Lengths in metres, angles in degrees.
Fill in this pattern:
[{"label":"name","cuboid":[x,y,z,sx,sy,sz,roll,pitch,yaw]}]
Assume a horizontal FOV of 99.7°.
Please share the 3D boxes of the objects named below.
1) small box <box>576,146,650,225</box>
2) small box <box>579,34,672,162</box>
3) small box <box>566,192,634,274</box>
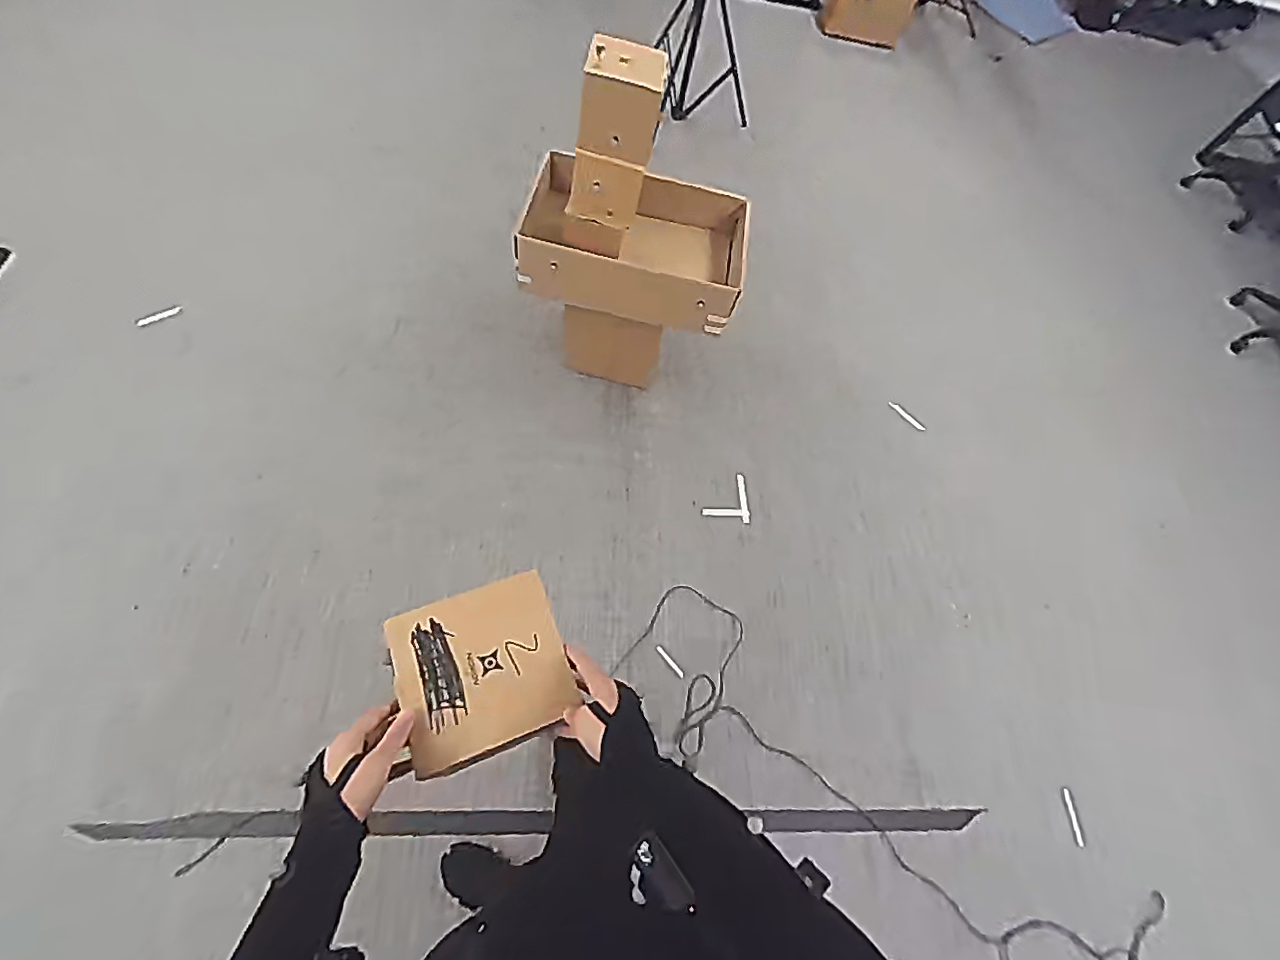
[{"label":"small box","cuboid":[-0.069,-0.795,1.392,0.168,0.176,0.179,12,62,-6]},{"label":"small box","cuboid":[-0.037,-0.875,1.252,0.179,0.176,0.168,11,61,-7]},{"label":"small box","cuboid":[-0.109,-0.717,1.529,0.168,0.176,0.179,15,62,-4]}]
